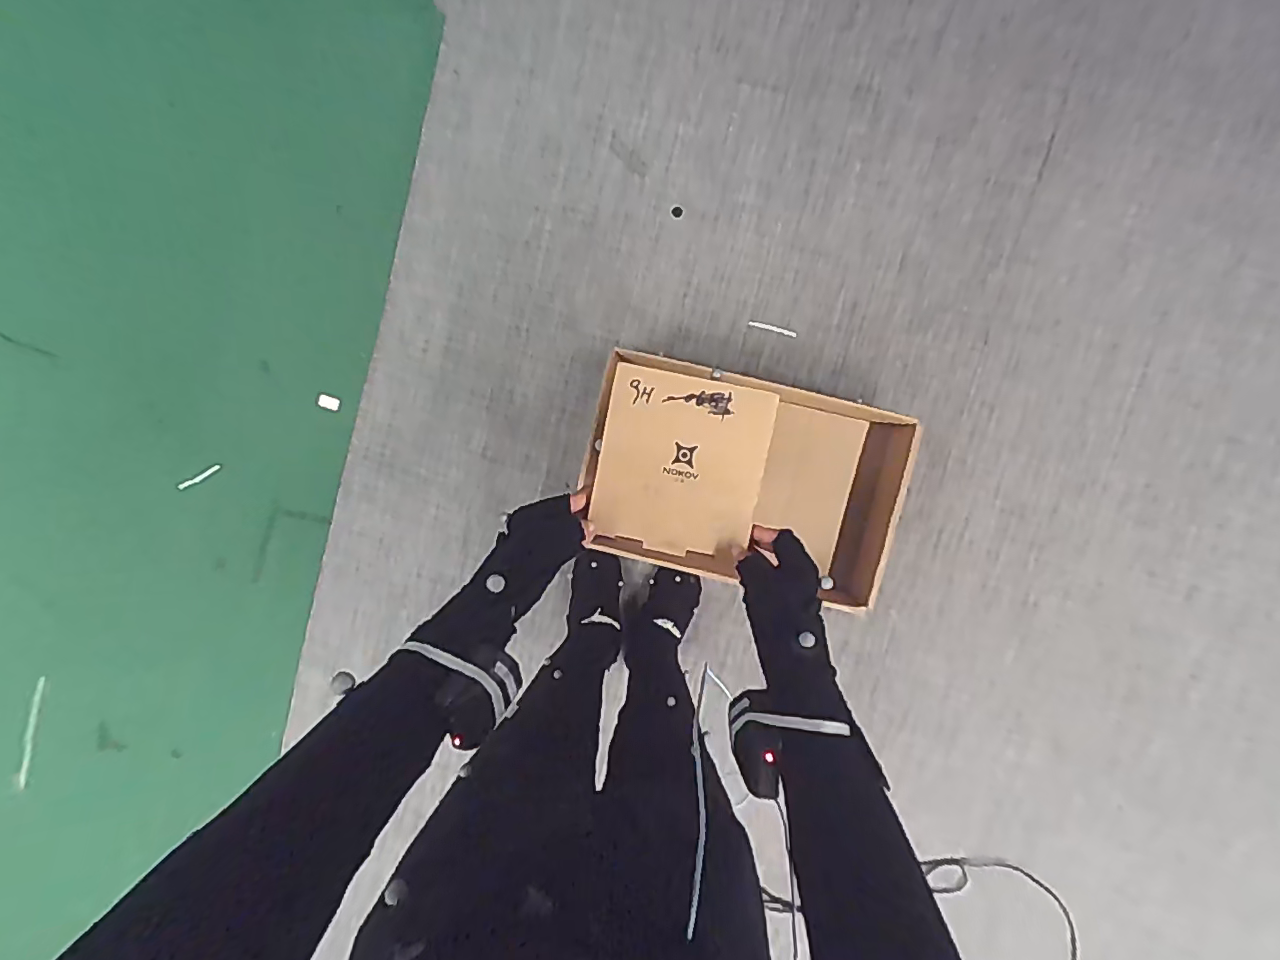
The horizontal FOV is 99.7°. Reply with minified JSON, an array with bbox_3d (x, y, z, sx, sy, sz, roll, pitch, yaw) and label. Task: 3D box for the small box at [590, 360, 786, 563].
[{"bbox_3d":[0.048,-0.024,0.610,0.168,0.176,0.179,12,95,0],"label":"small box"}]
